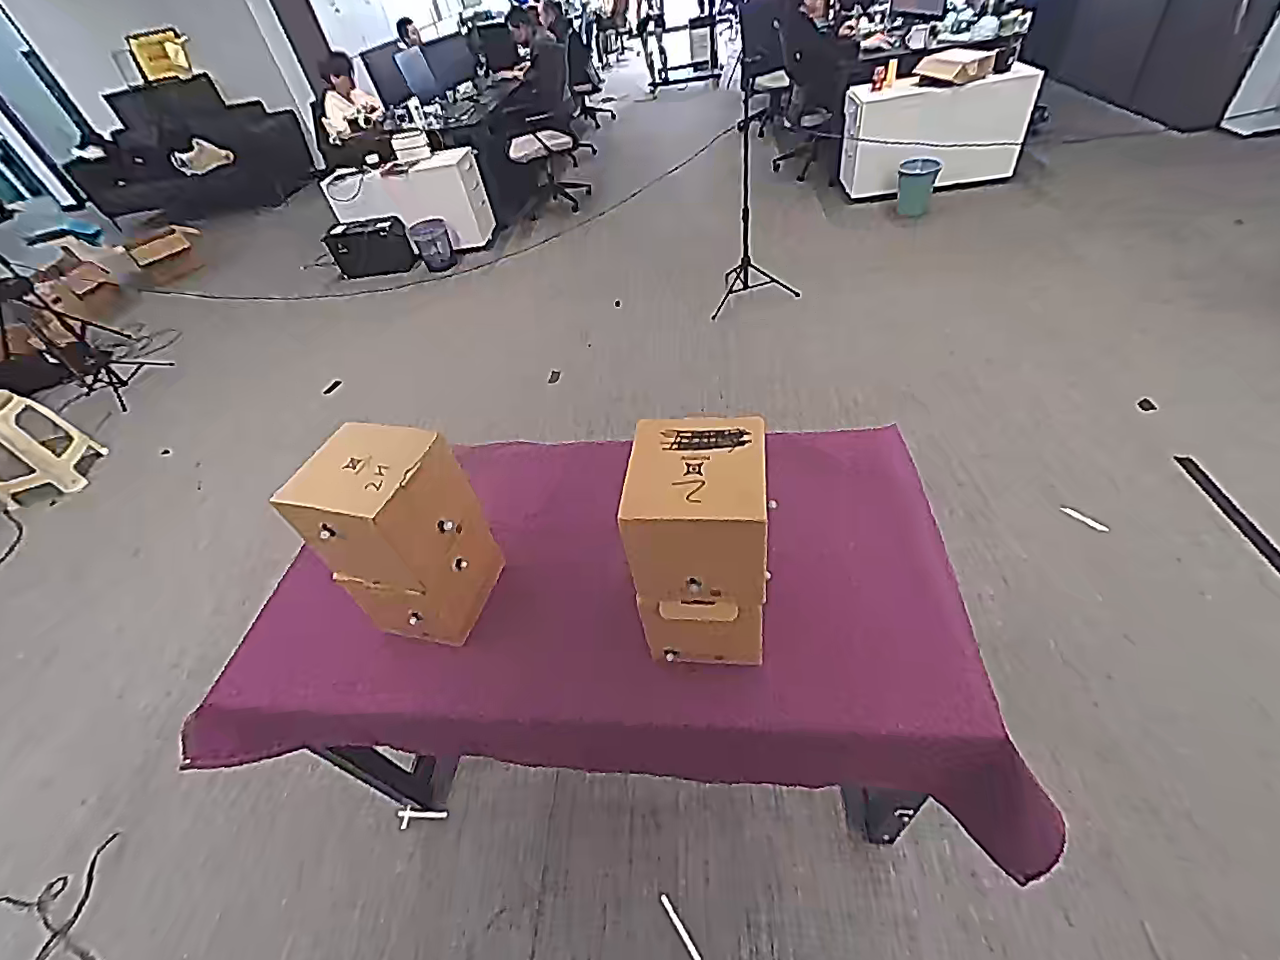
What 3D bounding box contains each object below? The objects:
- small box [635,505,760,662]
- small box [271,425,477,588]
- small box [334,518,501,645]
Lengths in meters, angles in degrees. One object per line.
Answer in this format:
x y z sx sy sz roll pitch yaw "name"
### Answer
0.096 0.157 0.815 0.168 0.176 0.179 -1 45 11 "small box"
-0.376 0.039 0.798 0.179 0.176 0.168 7 49 17 "small box"
-0.359 0.154 0.913 0.168 0.176 0.179 6 47 16 "small box"
